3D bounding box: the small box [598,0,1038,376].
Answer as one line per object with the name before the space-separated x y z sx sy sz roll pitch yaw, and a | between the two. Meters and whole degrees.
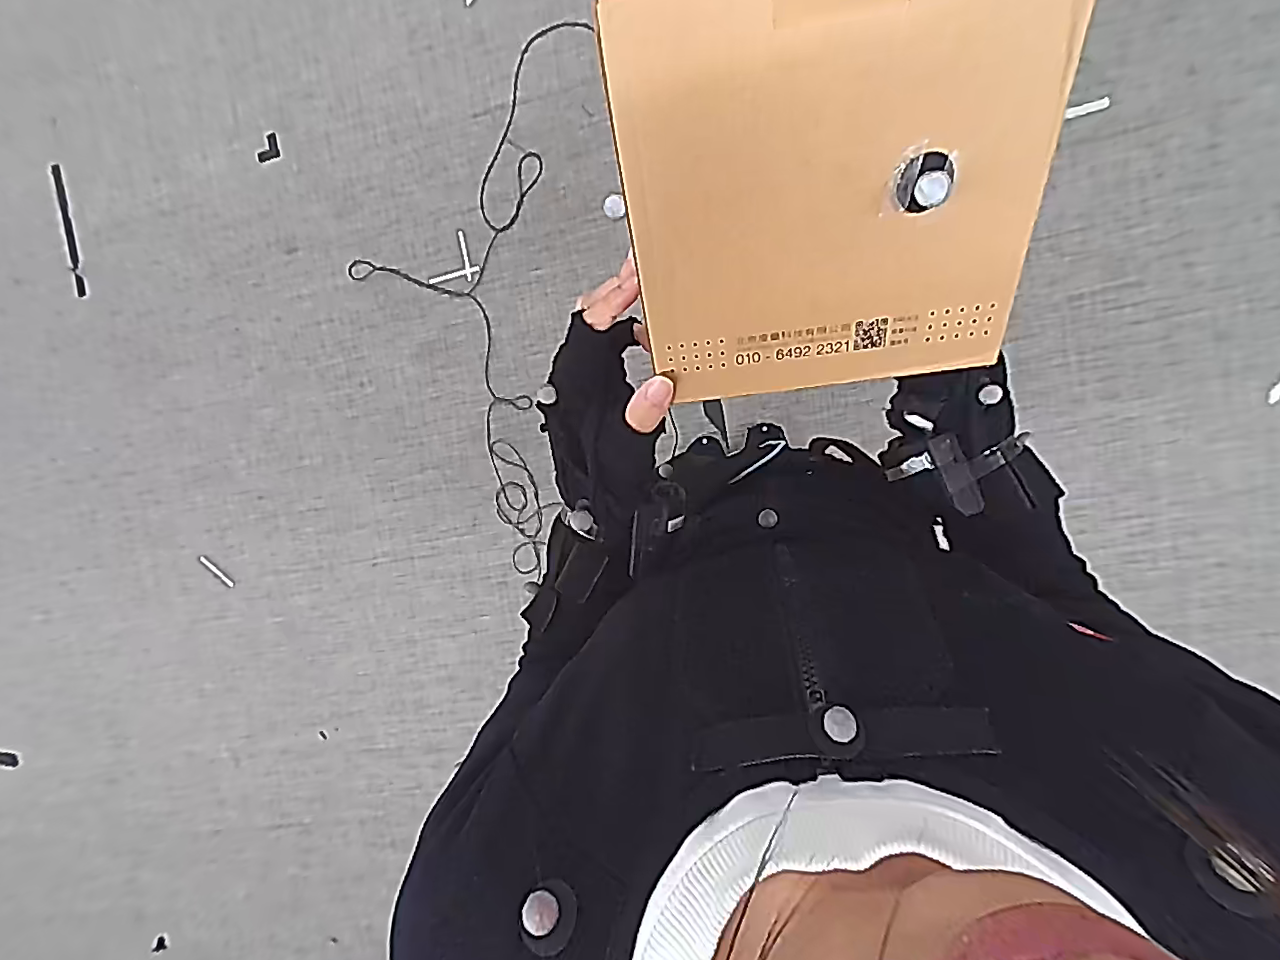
small box | 0.083 -0.169 0.304 0.168 0.179 0.176 -5 129 9
